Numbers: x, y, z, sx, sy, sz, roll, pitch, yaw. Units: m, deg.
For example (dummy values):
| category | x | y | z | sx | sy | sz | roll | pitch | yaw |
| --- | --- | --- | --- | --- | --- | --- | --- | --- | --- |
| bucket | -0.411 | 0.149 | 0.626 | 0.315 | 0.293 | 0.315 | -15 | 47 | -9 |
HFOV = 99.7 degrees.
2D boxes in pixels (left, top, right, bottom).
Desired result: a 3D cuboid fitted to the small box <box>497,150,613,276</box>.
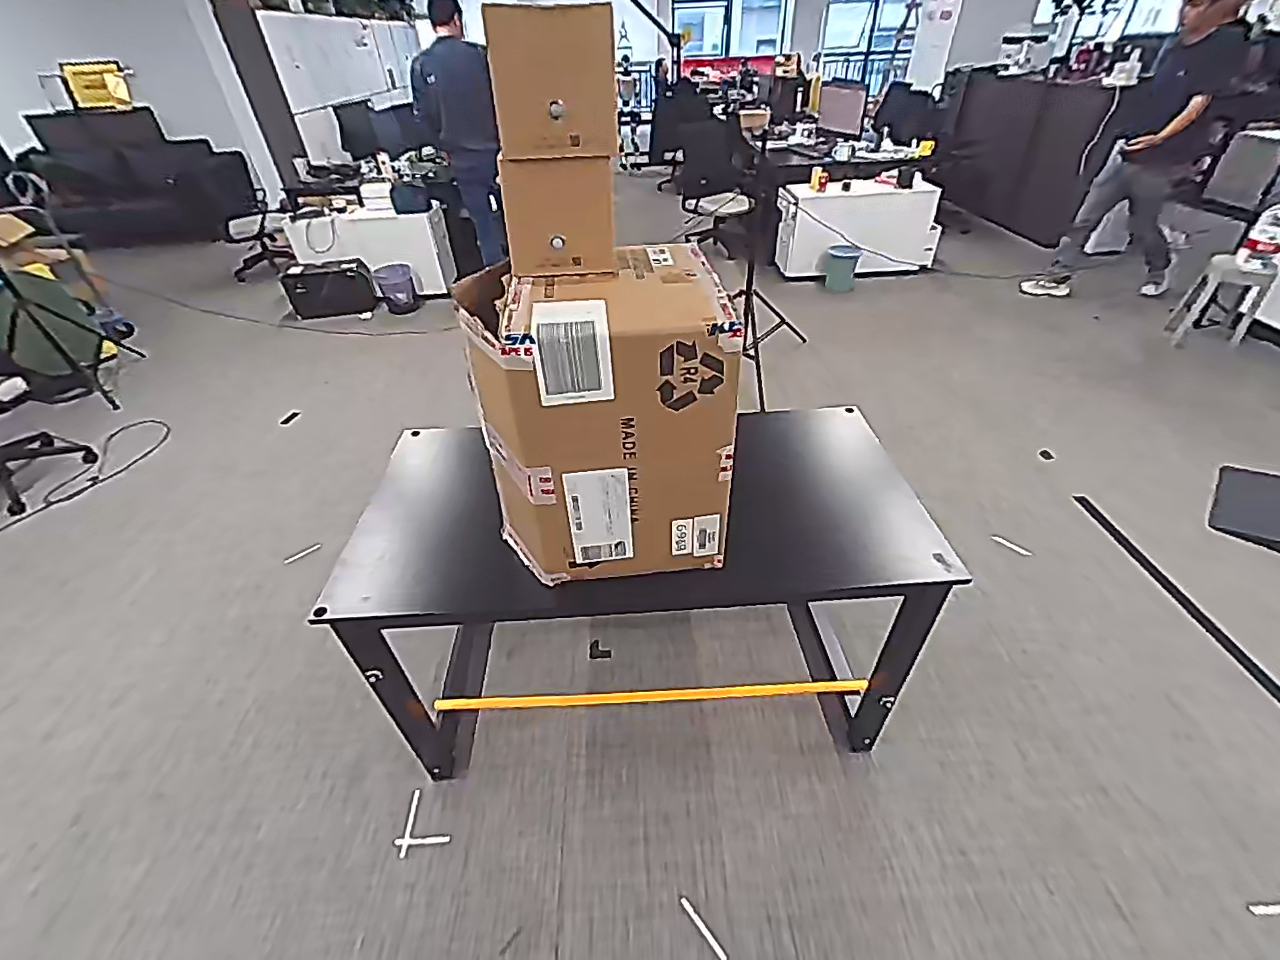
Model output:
| category | x | y | z | sx | sy | sz | roll | pitch | yaw |
| --- | --- | --- | --- | --- | --- | --- | --- | --- | --- |
| small box | -0.135 | -0.446 | 0.892 | 0.168 | 0.176 | 0.179 | -5 | 38 | -6 |

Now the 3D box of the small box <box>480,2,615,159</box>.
| category | x | y | z | sx | sy | sz | roll | pitch | yaw |
| --- | --- | --- | --- | --- | --- | --- | --- | --- | --- |
| small box | -0.130 | -0.574 | 0.787 | 0.168 | 0.176 | 0.179 | -7 | 37 | -7 |
